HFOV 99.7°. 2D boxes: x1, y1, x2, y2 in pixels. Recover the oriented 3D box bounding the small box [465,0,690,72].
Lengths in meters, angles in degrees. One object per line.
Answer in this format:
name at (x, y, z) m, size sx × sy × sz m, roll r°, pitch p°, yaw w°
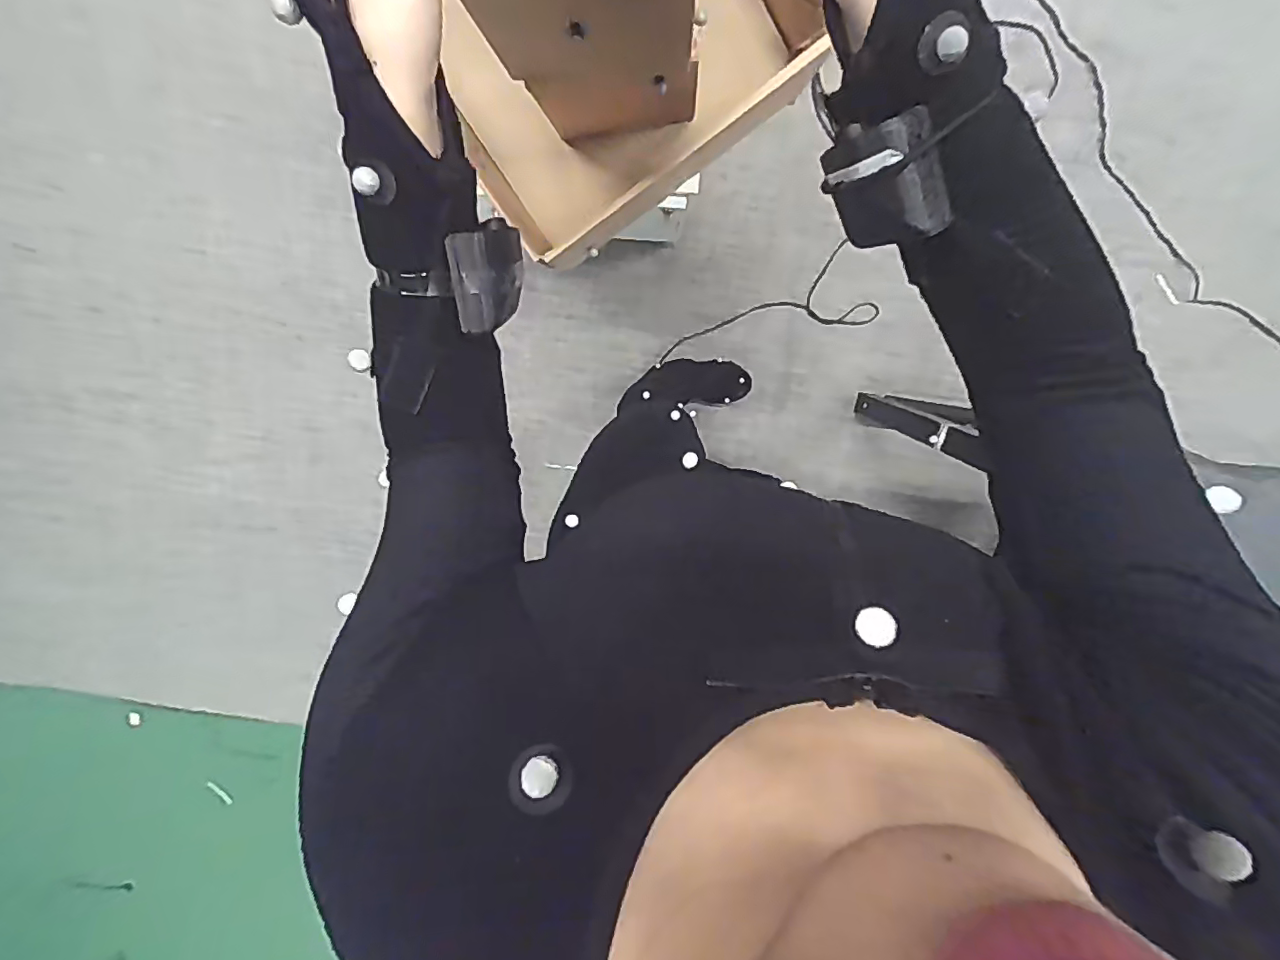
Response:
small box at (-0.045, -0.454, 0.428) m, size 0.179 × 0.176 × 0.168 m, roll 1°, pitch 106°, yaw 4°
